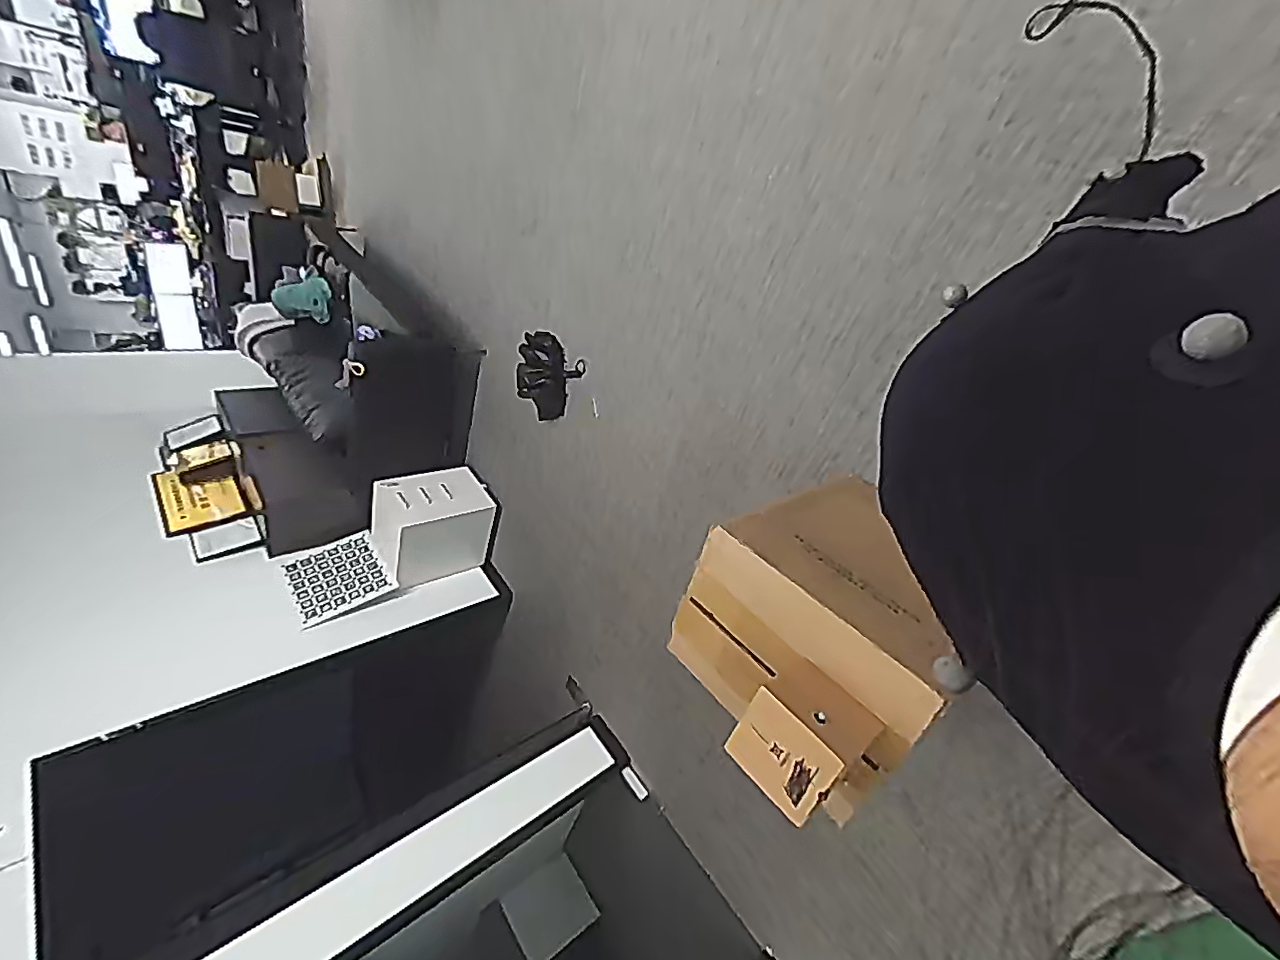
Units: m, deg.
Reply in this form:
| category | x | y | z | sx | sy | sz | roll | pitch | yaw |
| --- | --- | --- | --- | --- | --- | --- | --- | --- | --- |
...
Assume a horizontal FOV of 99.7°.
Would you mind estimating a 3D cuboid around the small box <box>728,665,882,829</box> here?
| category | x | y | z | sx | sy | sz | roll | pitch | yaw |
| --- | --- | --- | --- | --- | --- | --- | --- | --- | --- |
| small box | 0.299 | 0.466 | 0.974 | 0.179 | 0.176 | 0.168 | 39 | 117 | 36 |
